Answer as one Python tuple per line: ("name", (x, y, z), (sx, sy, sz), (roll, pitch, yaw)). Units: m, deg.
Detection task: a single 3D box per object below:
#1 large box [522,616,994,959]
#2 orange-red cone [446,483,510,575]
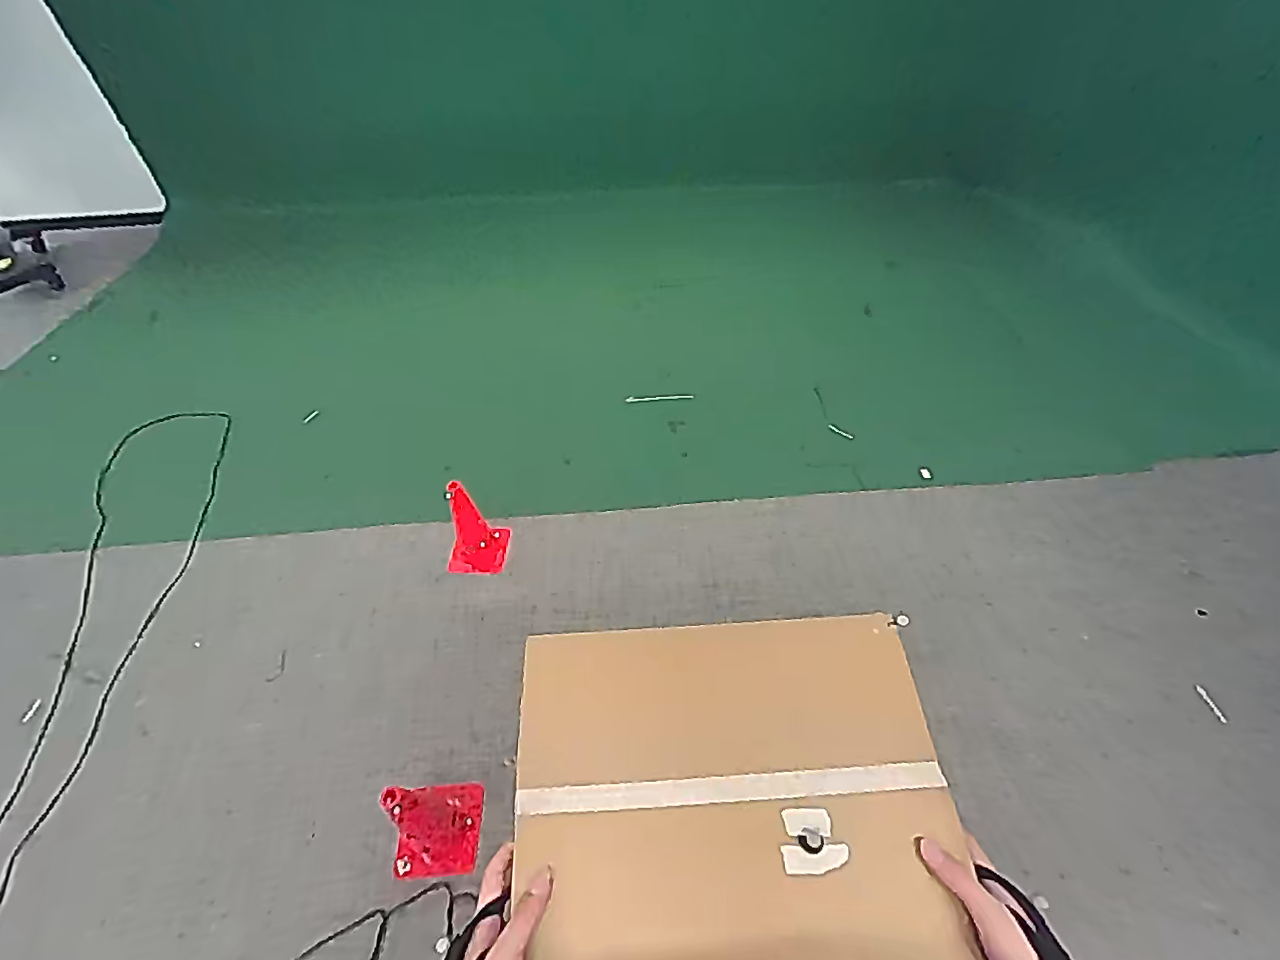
("large box", (0.091, 0.376, 0.648), (0.408, 0.320, 0.320), (-4, 59, -1))
("orange-red cone", (-0.591, 0.144, 1.838), (0.199, 0.360, 0.198), (0, 47, 4))
